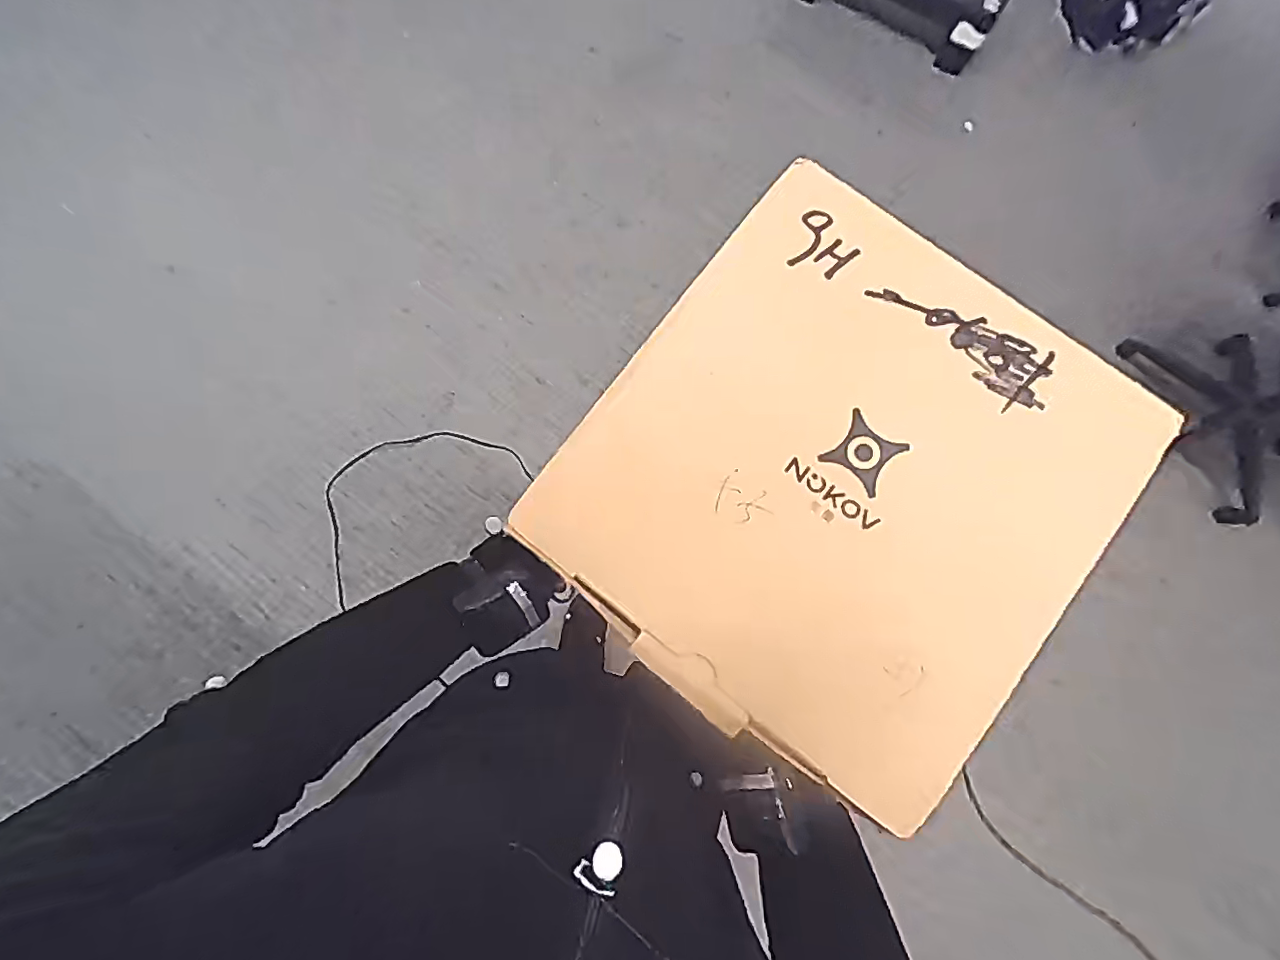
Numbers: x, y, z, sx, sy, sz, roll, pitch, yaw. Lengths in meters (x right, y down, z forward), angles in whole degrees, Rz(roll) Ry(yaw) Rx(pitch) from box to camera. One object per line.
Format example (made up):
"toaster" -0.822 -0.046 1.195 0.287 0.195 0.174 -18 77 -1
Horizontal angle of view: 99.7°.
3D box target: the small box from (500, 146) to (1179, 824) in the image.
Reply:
"small box" 0.069 0.003 0.262 0.168 0.176 0.179 37 86 4
